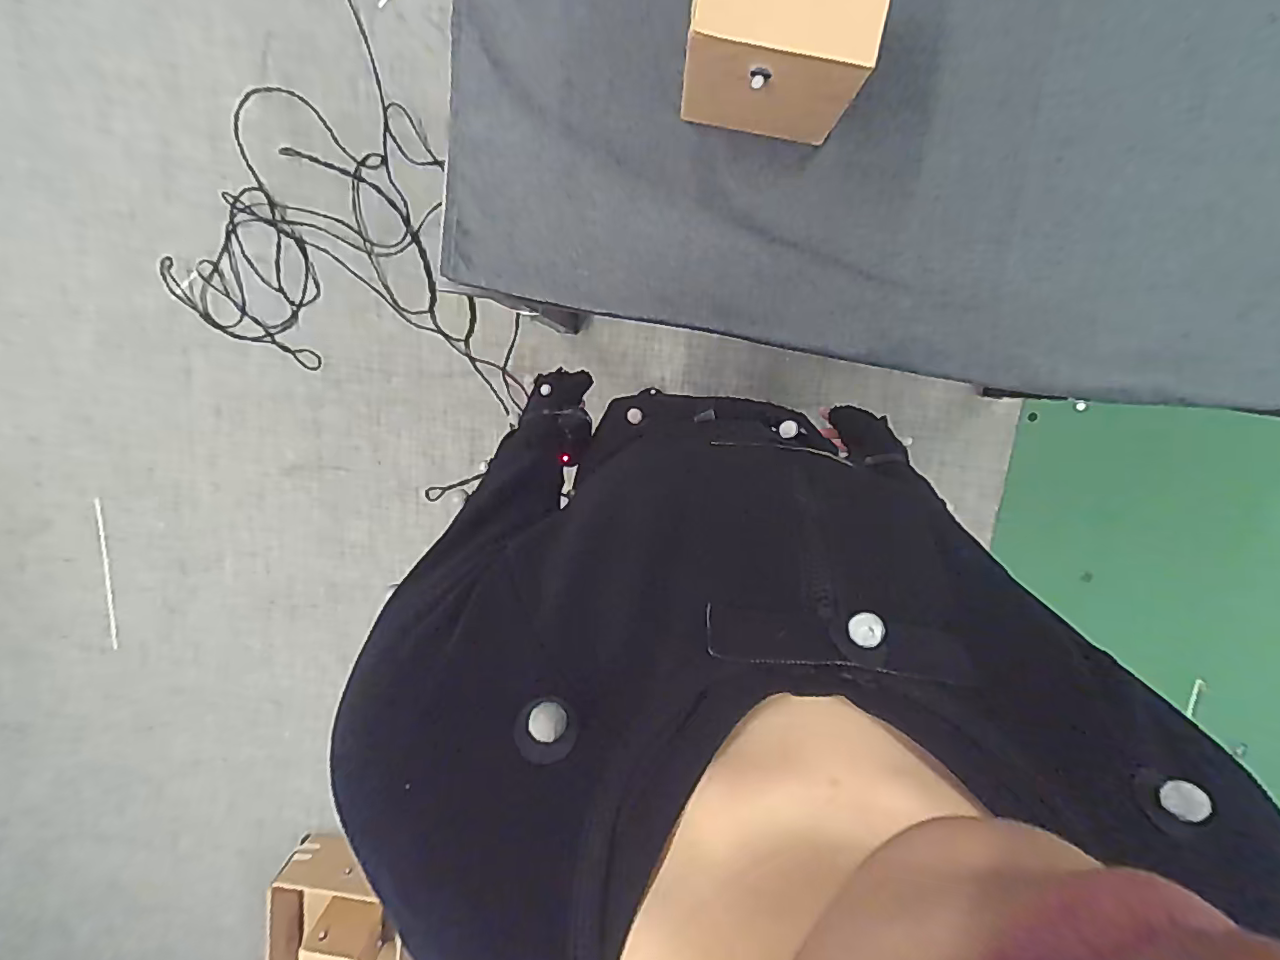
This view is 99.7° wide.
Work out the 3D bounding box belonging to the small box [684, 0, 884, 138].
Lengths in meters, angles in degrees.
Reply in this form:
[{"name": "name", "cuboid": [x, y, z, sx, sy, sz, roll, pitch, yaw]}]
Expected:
[{"name": "small box", "cuboid": [0.147, -0.495, 0.571, 0.179, 0.176, 0.168, 10, 100, -1]}]
